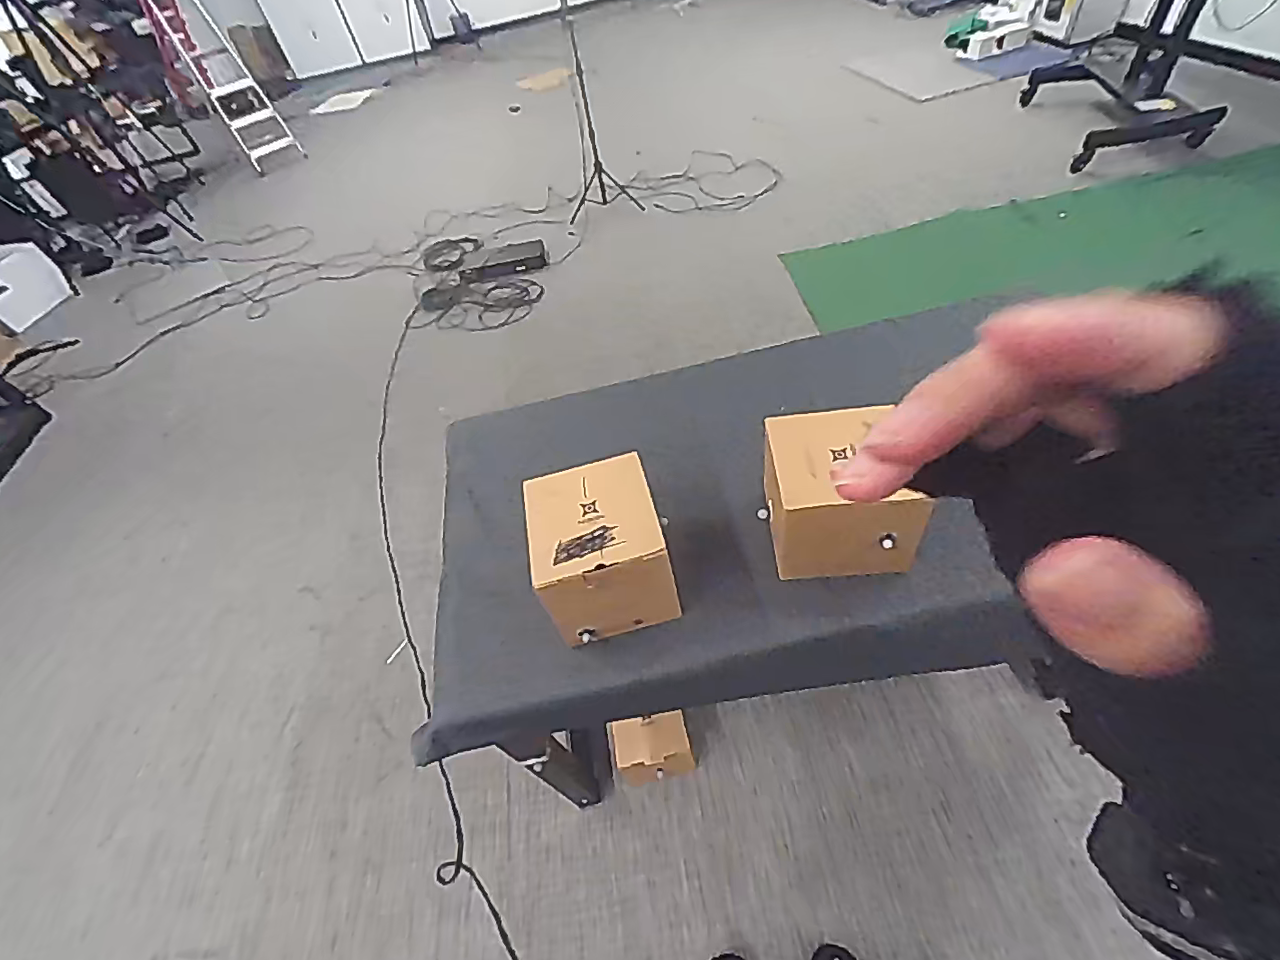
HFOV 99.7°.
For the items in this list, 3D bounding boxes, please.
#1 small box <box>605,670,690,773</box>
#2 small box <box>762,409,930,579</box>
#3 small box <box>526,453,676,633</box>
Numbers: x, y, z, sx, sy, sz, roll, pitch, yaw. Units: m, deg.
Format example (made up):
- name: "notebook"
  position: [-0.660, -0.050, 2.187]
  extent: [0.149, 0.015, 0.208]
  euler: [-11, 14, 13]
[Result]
- name: "small box"
  position: [0.020, 0.585, 1.296]
  extent: [0.168, 0.176, 0.179]
  euler: [-13, 50, 0]
- name: "small box"
  position: [0.270, 0.025, 0.756]
  extent: [0.179, 0.176, 0.168]
  euler: [-6, 48, 7]
- name: "small box"
  position: [-0.052, 0.095, 0.755]
  extent: [0.168, 0.176, 0.179]
  euler: [-14, 48, -2]
